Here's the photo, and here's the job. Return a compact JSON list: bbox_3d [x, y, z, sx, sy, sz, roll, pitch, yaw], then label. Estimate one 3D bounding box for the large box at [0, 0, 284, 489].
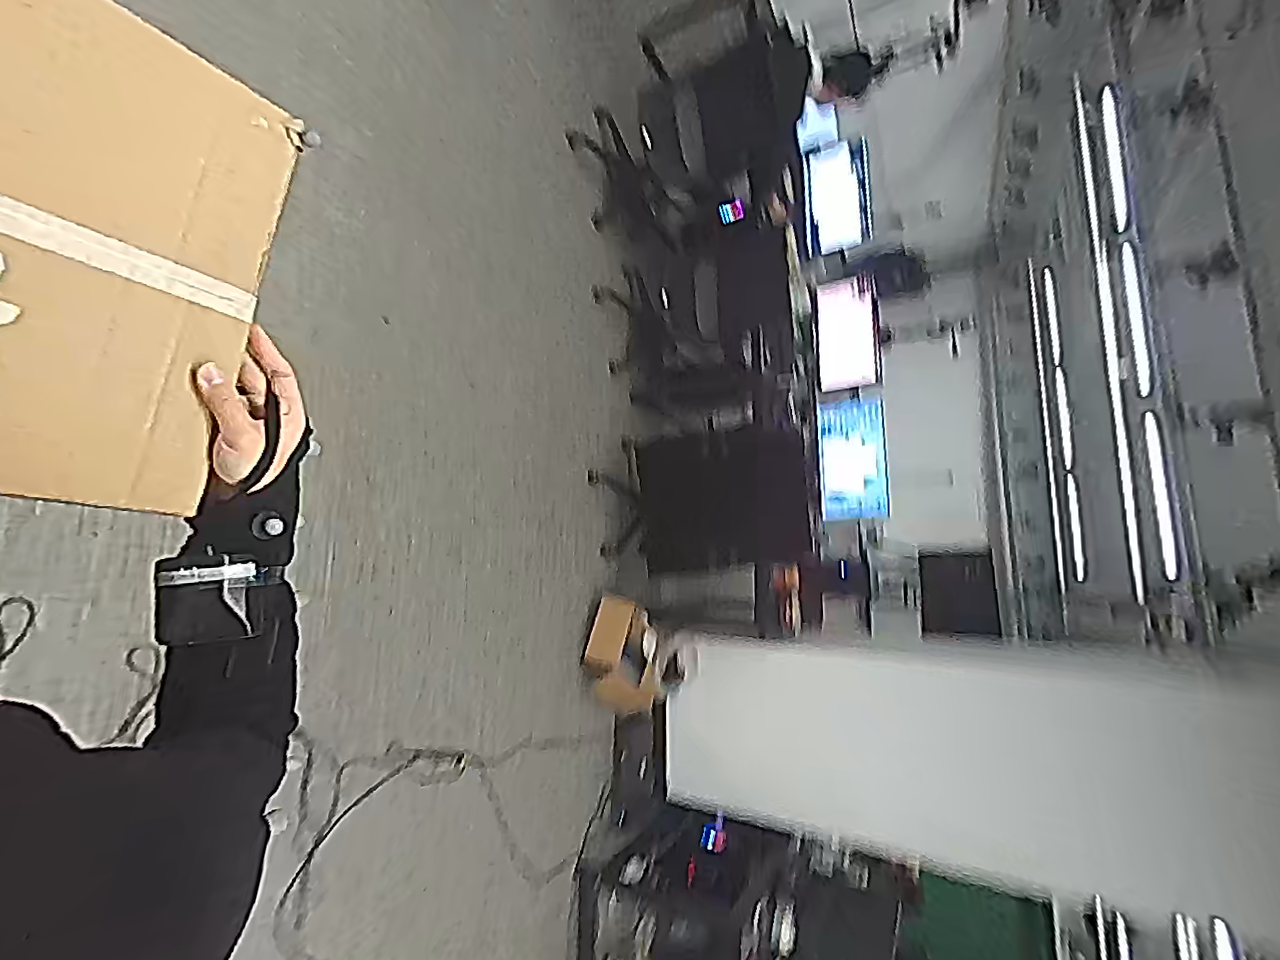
[{"bbox_3d":[-0.535,-0.184,0.345,0.408,0.320,0.320,17,81,-50],"label":"large box"}]
